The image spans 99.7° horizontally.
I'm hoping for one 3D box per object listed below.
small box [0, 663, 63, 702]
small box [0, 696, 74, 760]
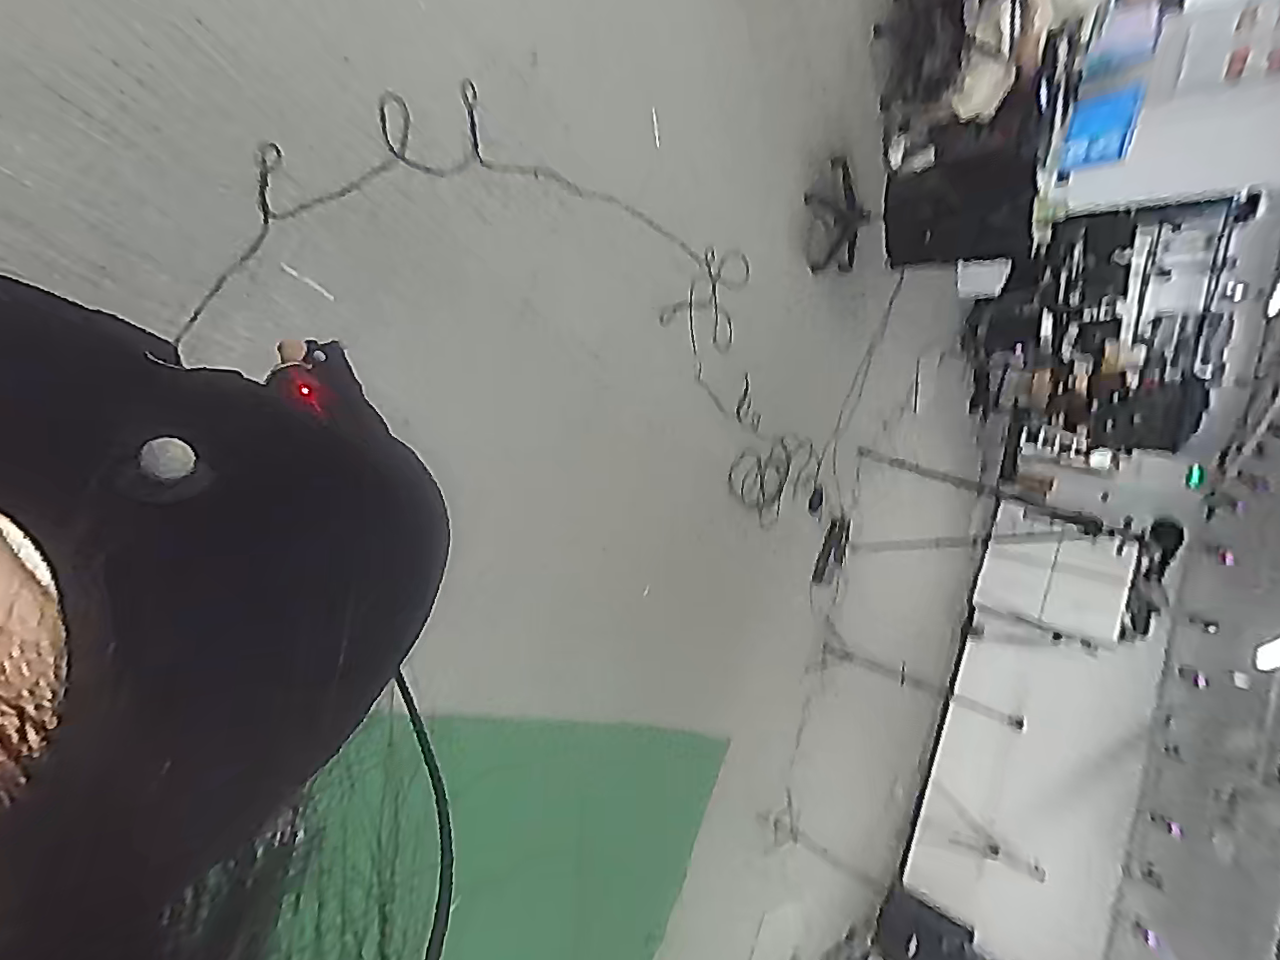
[{"bbox_3d":[-1.157,0.423,0.933,0.168,0.176,0.179,34,74,-47],"label":"small box"},{"bbox_3d":[-1.031,0.444,0.830,0.179,0.176,0.168,35,73,-45],"label":"small box"}]
